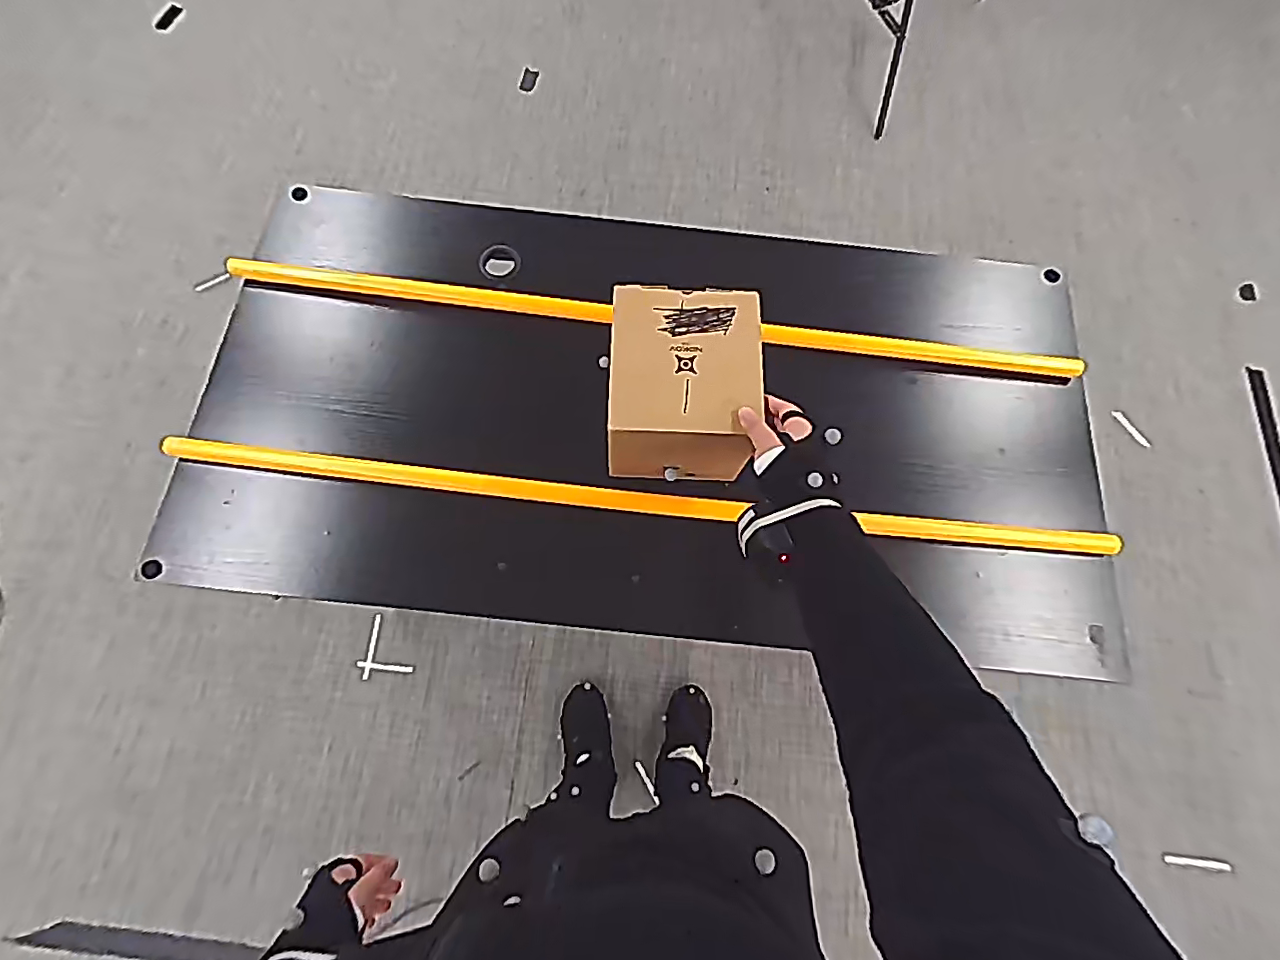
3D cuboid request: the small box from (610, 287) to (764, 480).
[{"bbox_3d":[0.049,-0.110,0.666,0.168,0.176,0.179,2,74,-1],"label":"small box"}]
